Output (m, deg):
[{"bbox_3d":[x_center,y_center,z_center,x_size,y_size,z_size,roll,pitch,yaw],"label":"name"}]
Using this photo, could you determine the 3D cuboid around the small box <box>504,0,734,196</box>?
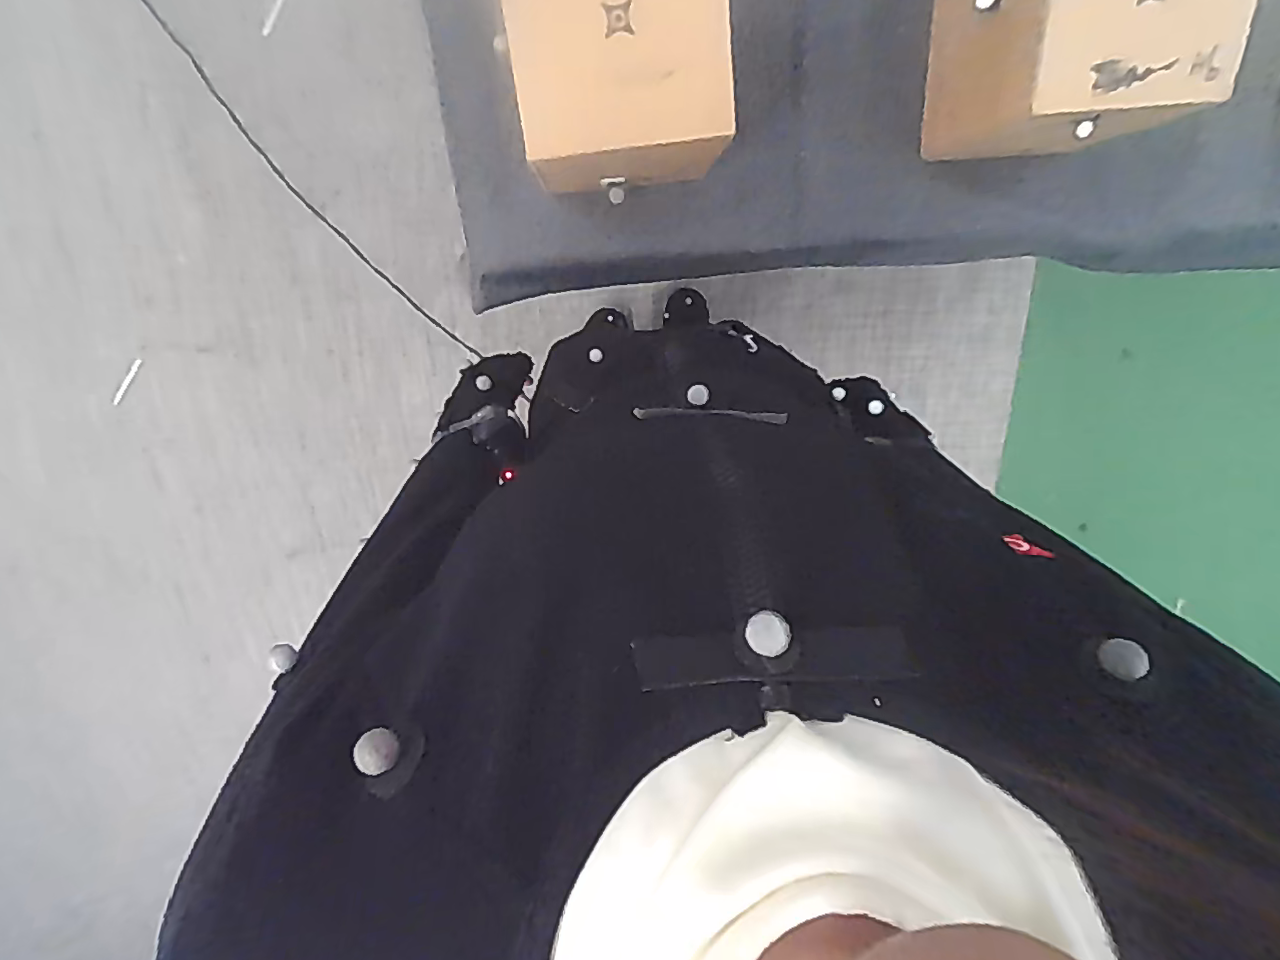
[{"bbox_3d":[-0.021,-0.367,0.472,0.168,0.176,0.179,-8,109,0],"label":"small box"}]

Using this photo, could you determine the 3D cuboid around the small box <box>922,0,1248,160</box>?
[{"bbox_3d":[0.377,-0.408,0.481,0.168,0.176,0.179,-5,109,-1],"label":"small box"}]
